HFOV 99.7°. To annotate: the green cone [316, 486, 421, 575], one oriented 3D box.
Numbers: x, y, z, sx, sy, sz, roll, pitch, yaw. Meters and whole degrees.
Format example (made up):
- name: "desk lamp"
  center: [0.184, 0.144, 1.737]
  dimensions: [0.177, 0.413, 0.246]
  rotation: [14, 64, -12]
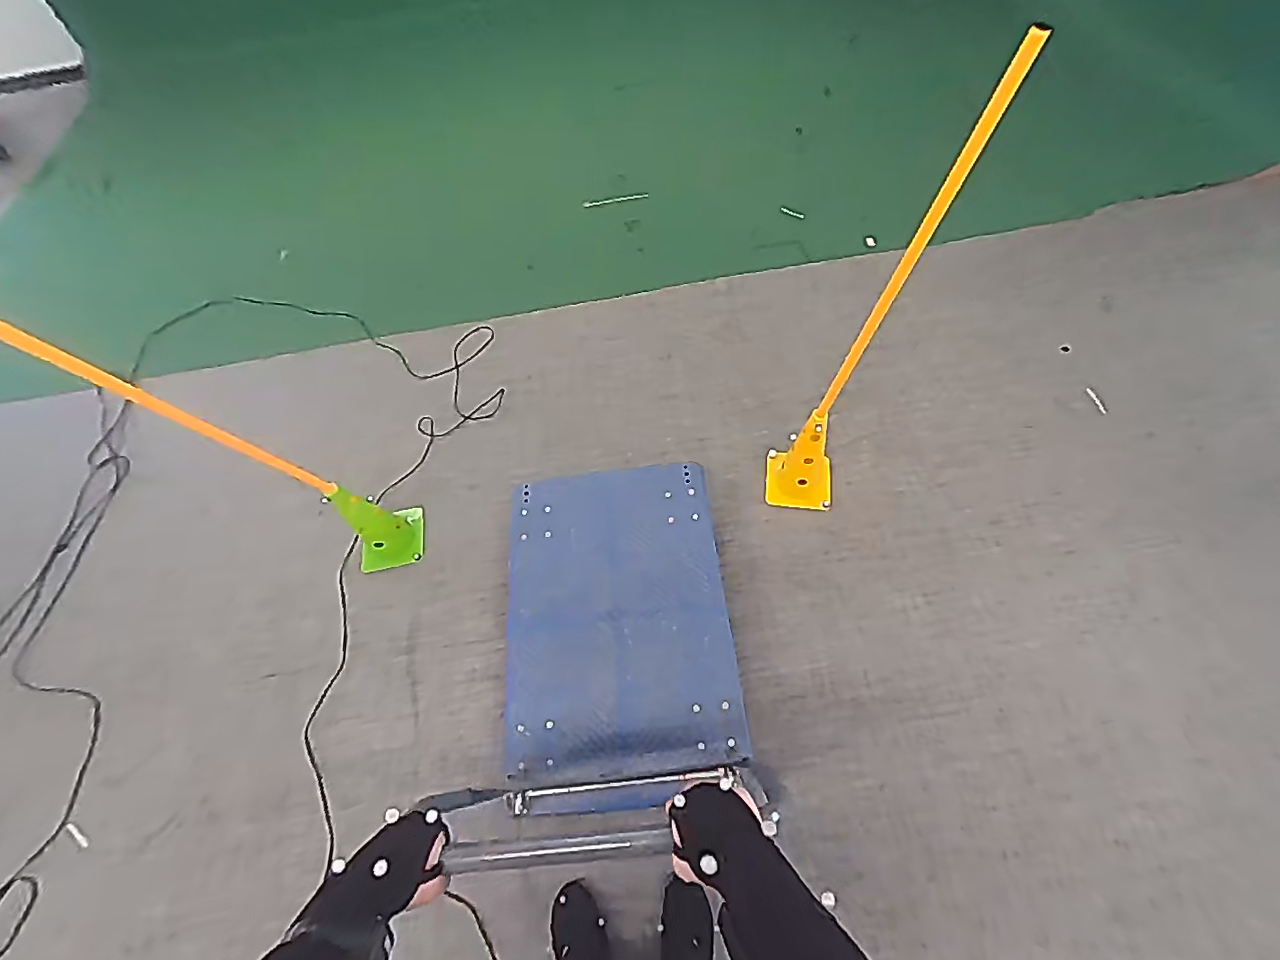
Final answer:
- name: "green cone"
  center: [-0.834, 0.115, 1.618]
  dimensions: [0.202, 0.368, 0.200]
  rotation: [-14, 59, 0]
